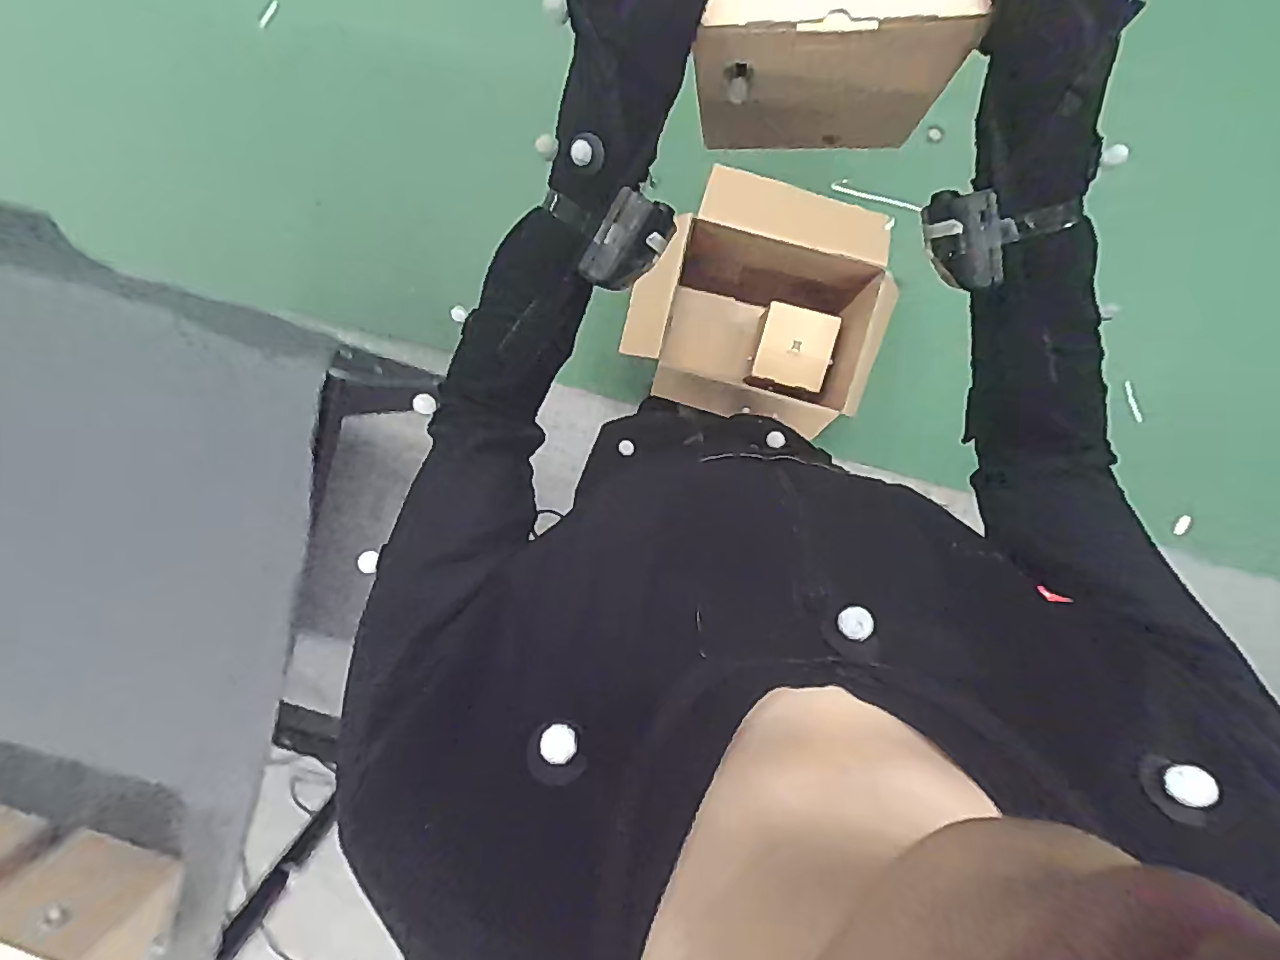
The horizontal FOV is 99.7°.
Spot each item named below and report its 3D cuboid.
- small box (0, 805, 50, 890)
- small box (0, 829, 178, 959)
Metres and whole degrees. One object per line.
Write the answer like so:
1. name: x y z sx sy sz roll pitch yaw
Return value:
1. small box: -1.039 0.594 0.784 0.179 0.176 0.168 18 99 -1
2. small box: -0.832 0.656 0.787 0.179 0.176 0.168 19 99 1
